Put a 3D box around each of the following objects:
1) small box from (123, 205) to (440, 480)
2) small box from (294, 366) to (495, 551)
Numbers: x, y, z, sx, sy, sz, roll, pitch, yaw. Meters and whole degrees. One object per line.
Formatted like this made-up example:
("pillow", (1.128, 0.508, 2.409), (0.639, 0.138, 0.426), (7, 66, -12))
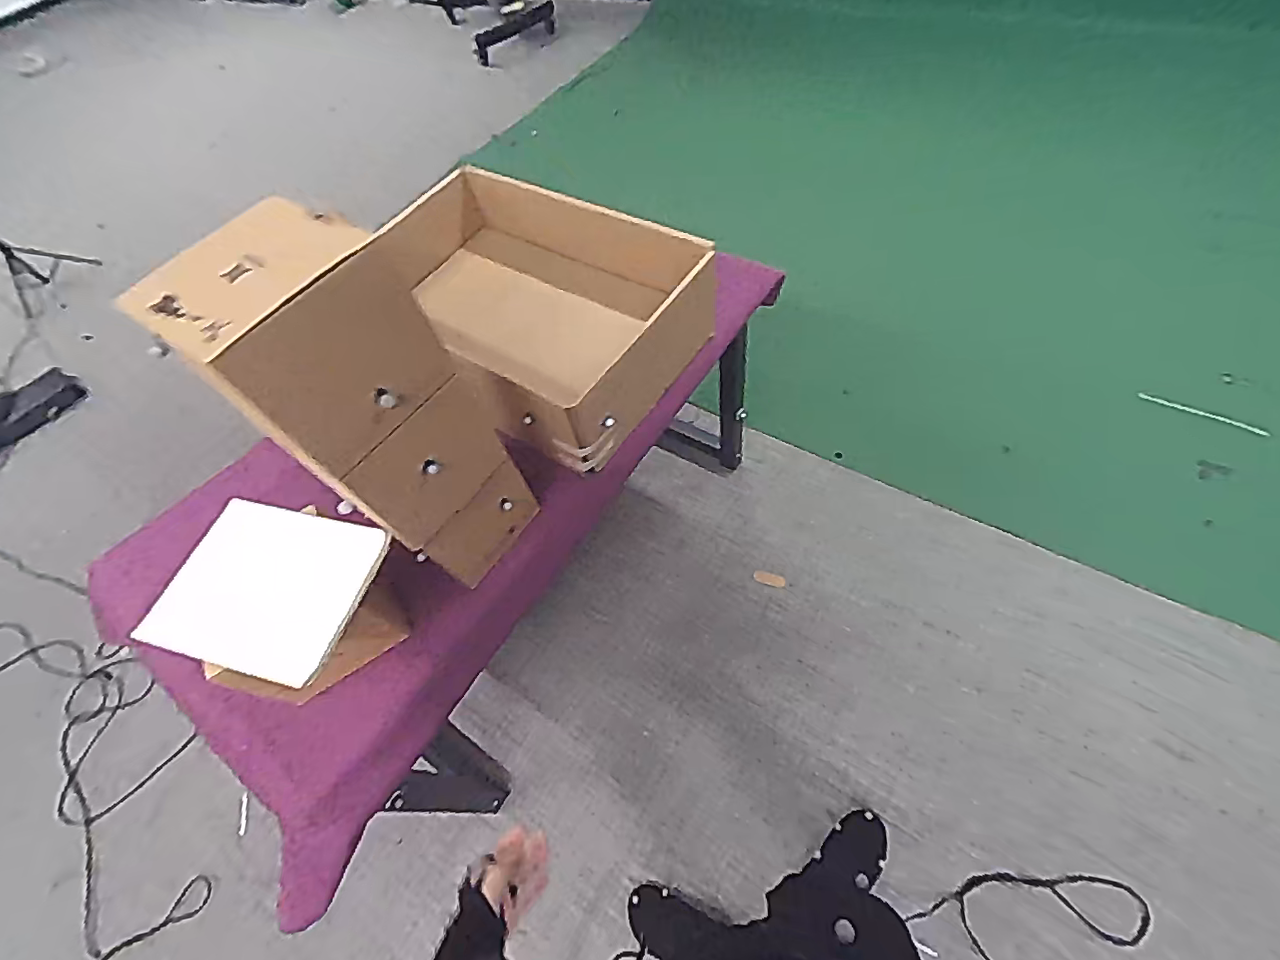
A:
("small box", (-0.327, -0.134, 0.537), (0.168, 0.176, 0.179), (27, 64, 25))
("small box", (-0.306, -0.045, 0.674), (0.168, 0.176, 0.179), (27, 65, 25))
